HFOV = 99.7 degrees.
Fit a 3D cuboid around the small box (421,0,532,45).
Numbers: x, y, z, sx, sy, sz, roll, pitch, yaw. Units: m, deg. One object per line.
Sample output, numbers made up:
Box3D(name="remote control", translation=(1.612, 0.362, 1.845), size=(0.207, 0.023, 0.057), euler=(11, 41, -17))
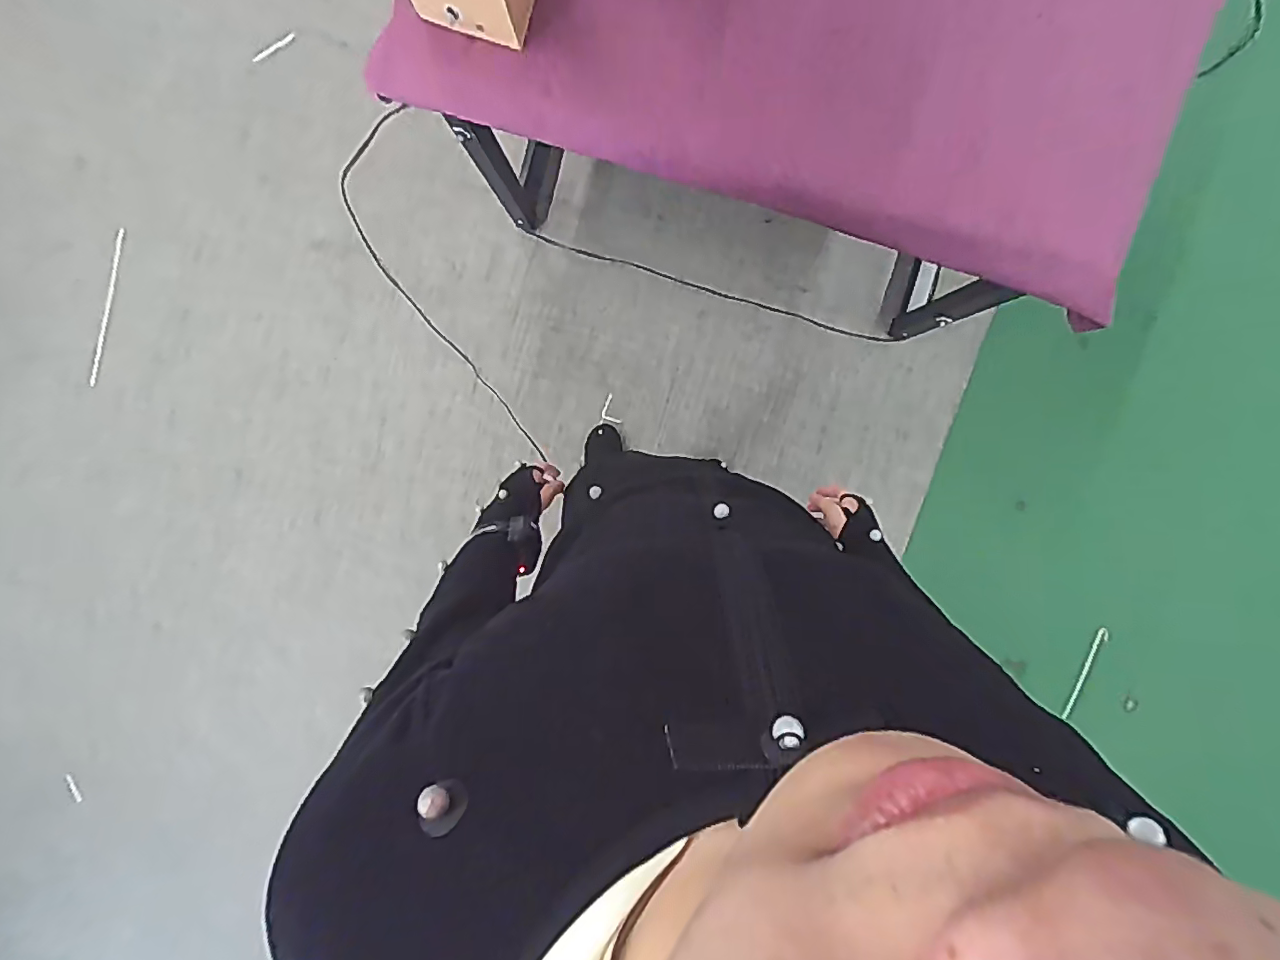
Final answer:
Box3D(name="small box", translation=(-0.239, -0.774, 0.754), size=(0.168, 0.176, 0.179), euler=(18, 95, 0))
